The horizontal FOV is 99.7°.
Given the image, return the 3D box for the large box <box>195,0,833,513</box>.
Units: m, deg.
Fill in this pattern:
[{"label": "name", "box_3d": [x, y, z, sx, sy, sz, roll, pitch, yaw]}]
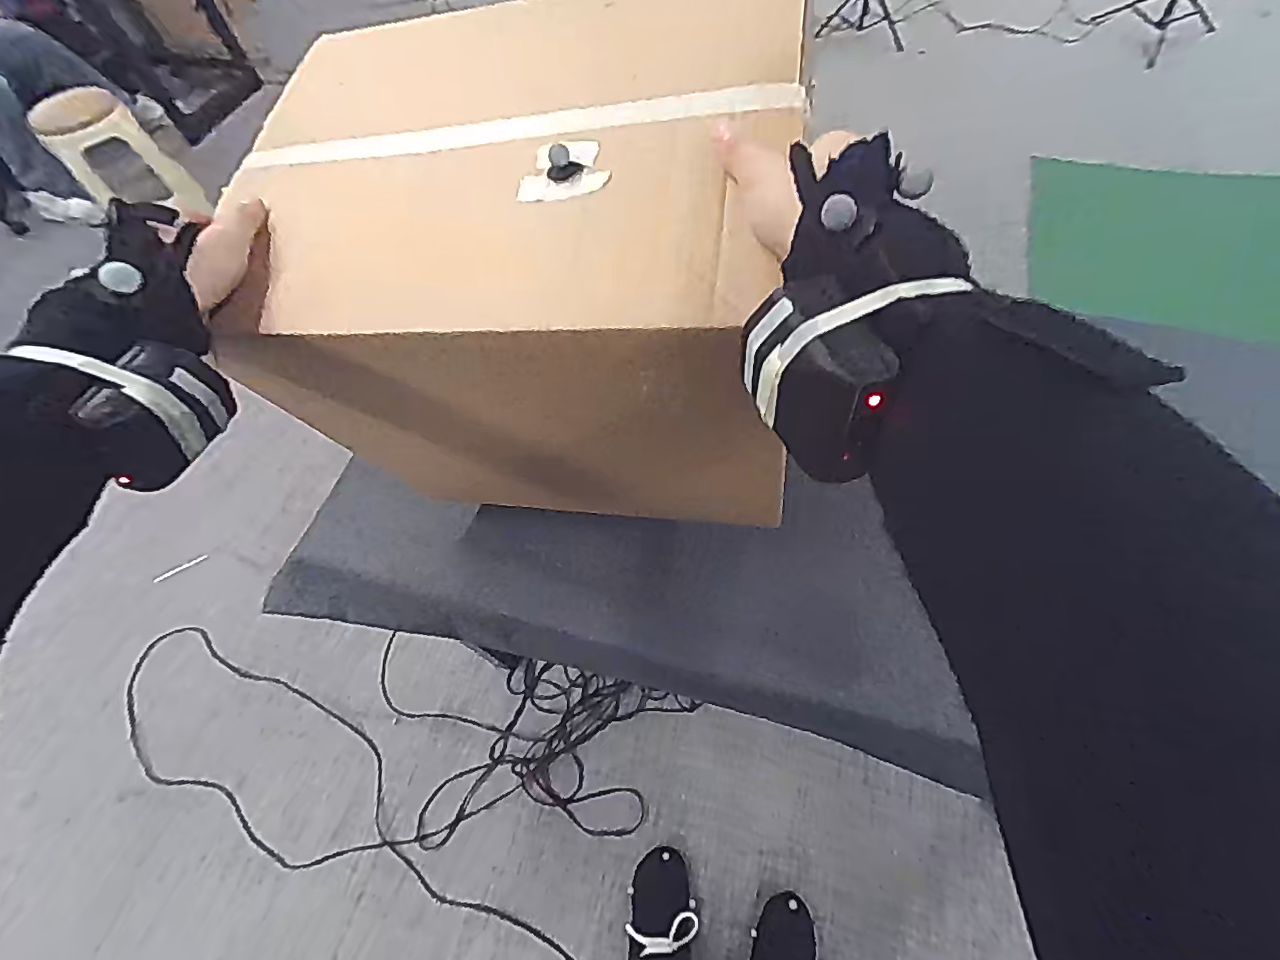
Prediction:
[{"label": "large box", "box_3d": [-0.053, -0.170, 0.497, 0.408, 0.320, 0.320, 3, 69, 14]}]
